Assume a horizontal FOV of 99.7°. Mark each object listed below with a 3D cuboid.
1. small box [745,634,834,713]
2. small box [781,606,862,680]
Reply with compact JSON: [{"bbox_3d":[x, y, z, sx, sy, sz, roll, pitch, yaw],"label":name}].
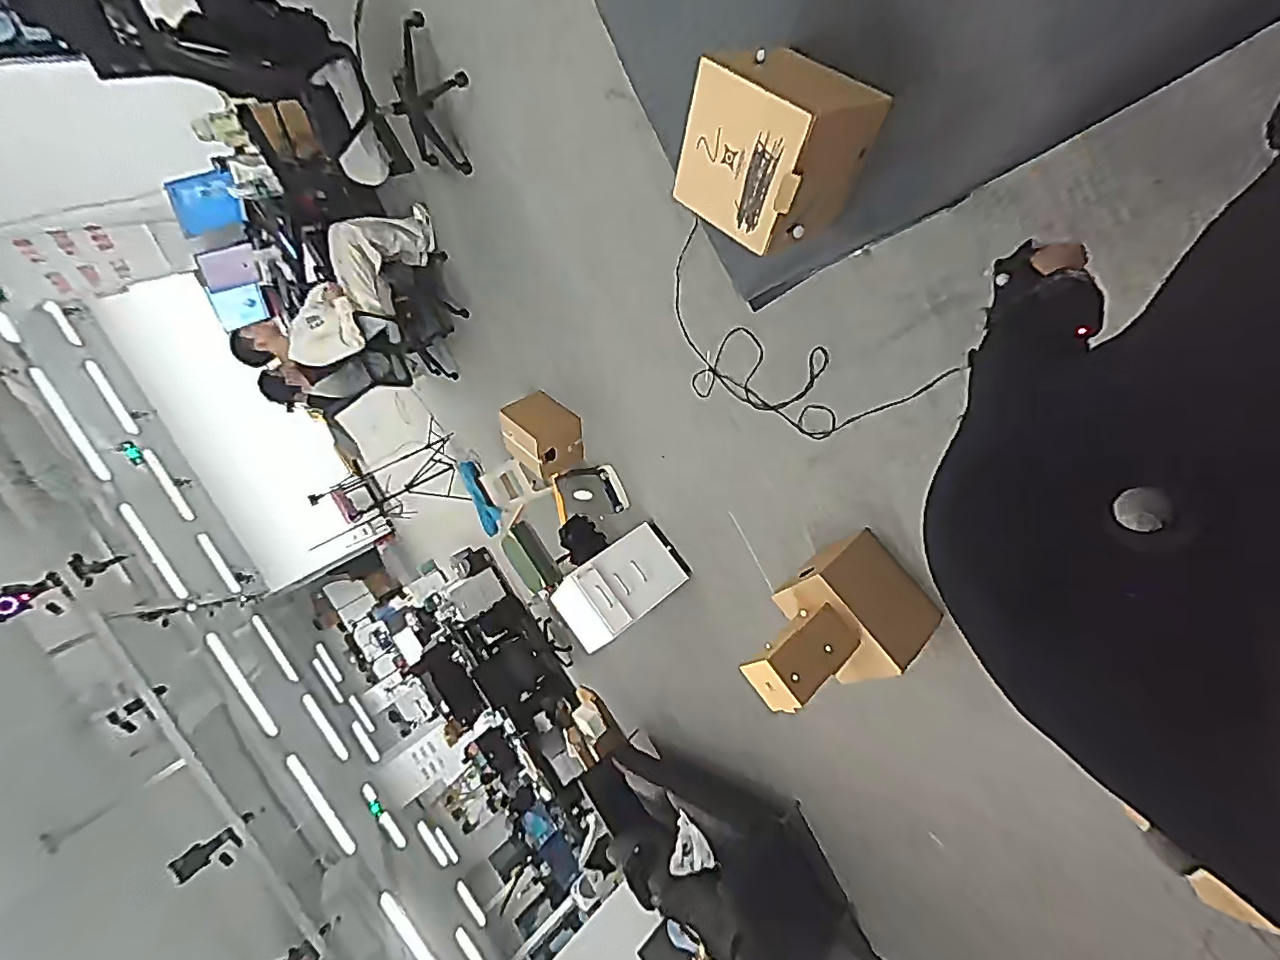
[{"bbox_3d":[0.480,0.616,1.738,0.179,0.176,0.168,53,148,9],"label":"small box"},{"bbox_3d":[0.607,0.554,1.820,0.179,0.176,0.168,53,148,10],"label":"small box"}]
